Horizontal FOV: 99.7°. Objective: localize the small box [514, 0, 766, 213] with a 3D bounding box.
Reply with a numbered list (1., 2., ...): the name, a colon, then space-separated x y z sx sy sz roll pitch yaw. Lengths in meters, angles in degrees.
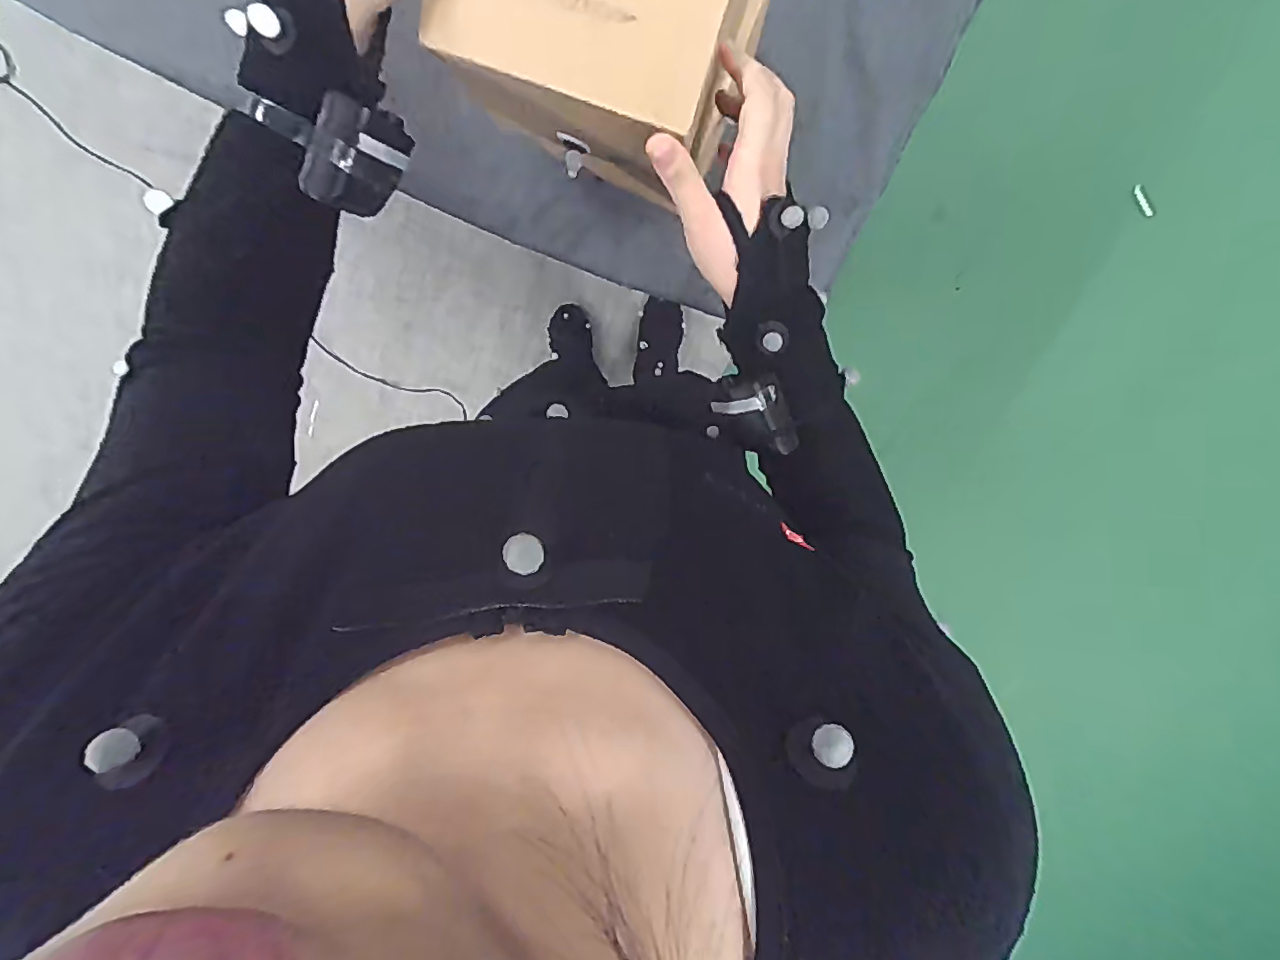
1. small box: 0.006 -0.379 0.511 0.168 0.176 0.179 23 107 -3
